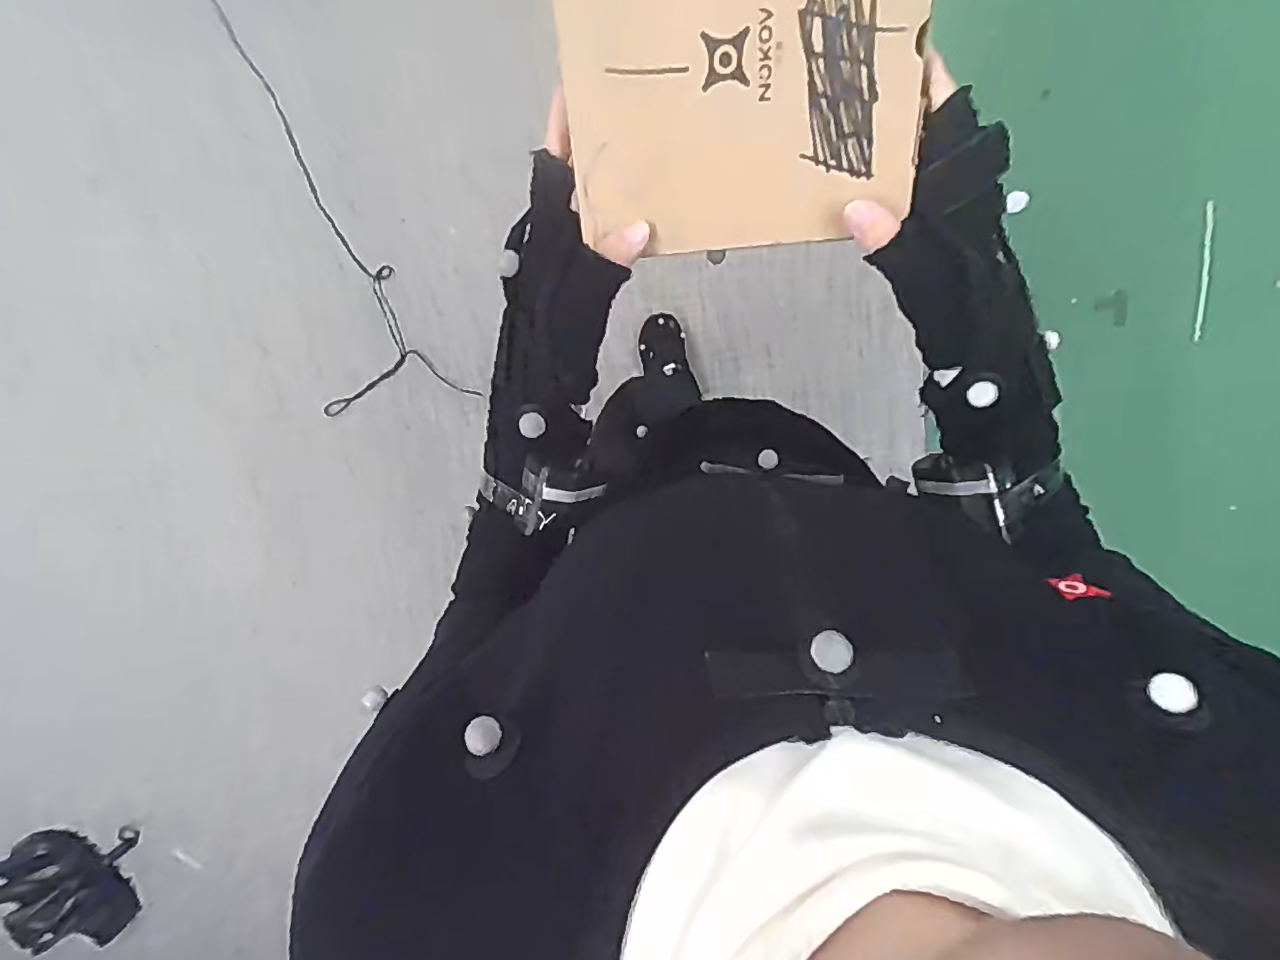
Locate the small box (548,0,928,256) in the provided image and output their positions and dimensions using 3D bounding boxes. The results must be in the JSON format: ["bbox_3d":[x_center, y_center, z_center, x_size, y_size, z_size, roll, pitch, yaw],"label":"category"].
[{"bbox_3d":[0.047,-0.244,0.324,0.179,0.176,0.168,-7,119,4],"label":"small box"}]
